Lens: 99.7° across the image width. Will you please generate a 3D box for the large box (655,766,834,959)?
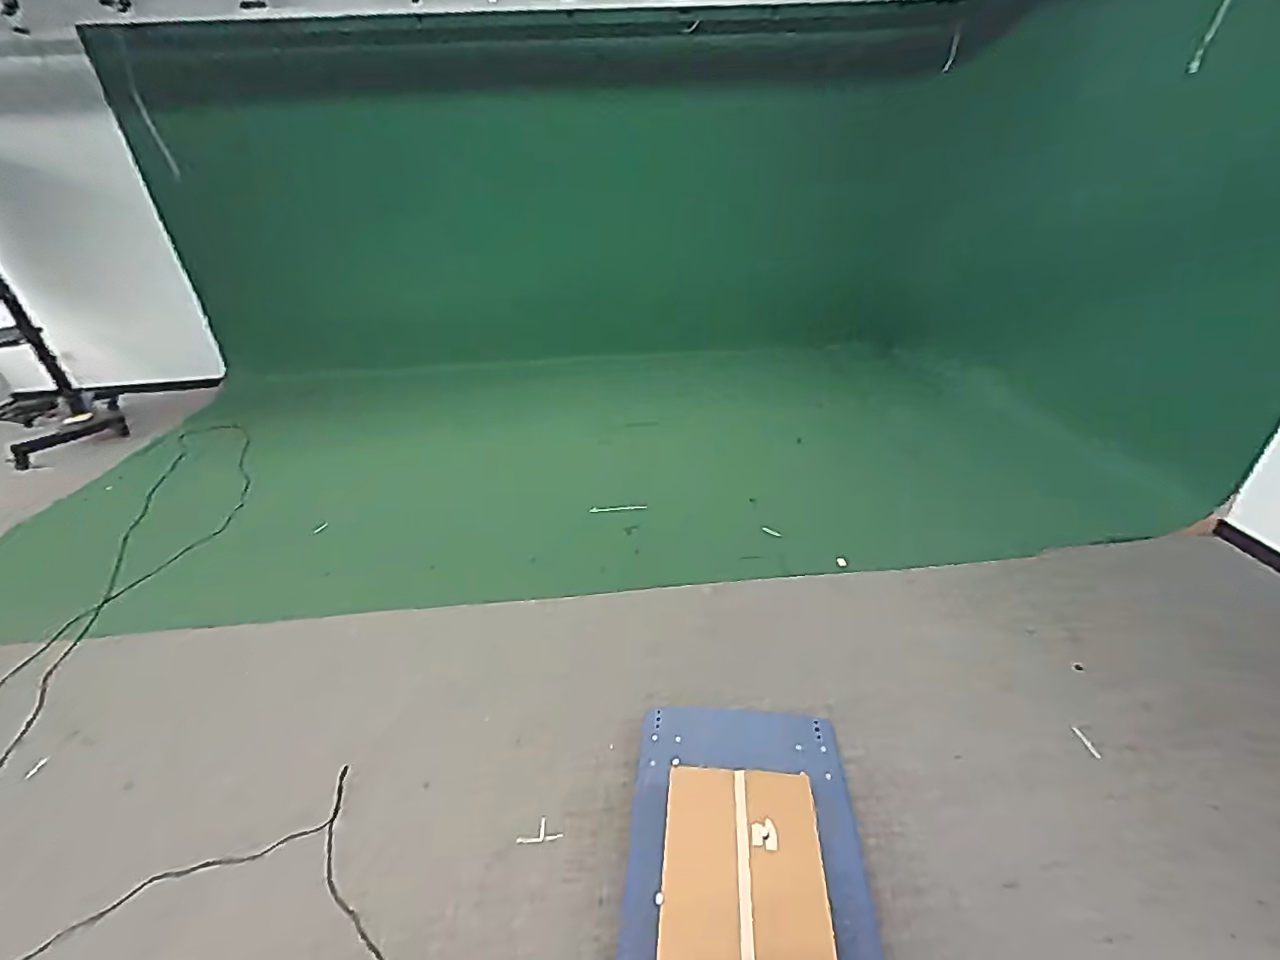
[{"bbox_3d":[0.205,0.894,1.142,0.320,0.320,0.408,1,30,7],"label":"large box"}]
